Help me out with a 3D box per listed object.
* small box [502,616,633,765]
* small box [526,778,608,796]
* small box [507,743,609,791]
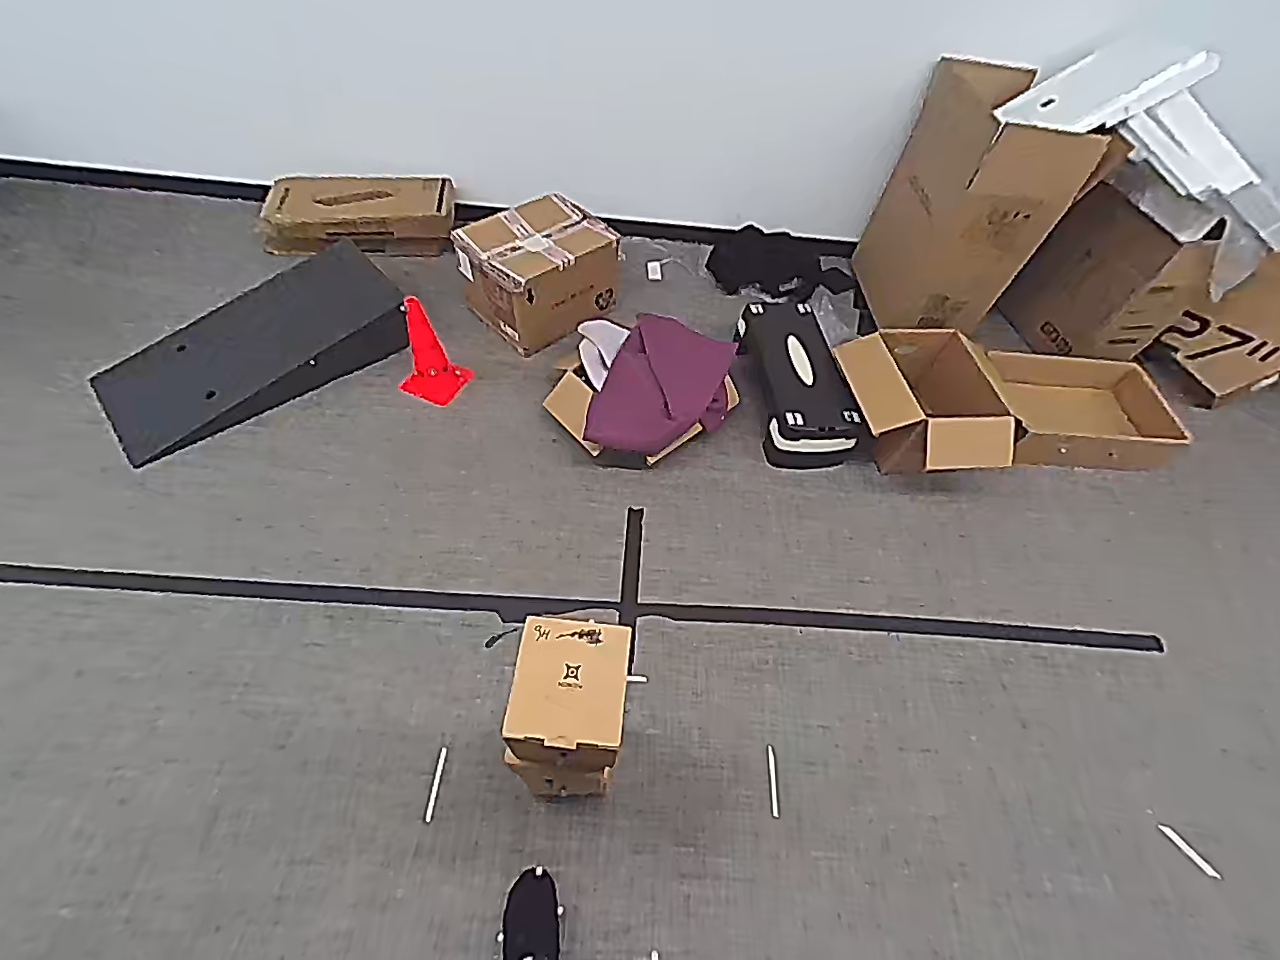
[{"bbox_3d":[-0.104,0.333,0.843,0.168,0.176,0.179,7,55,0],"label":"small box"},{"bbox_3d":[-0.158,0.622,1.237,0.179,0.176,0.168,2,55,-5],"label":"small box"},{"bbox_3d":[-0.127,0.439,0.968,0.168,0.176,0.179,9,56,2],"label":"small box"}]
